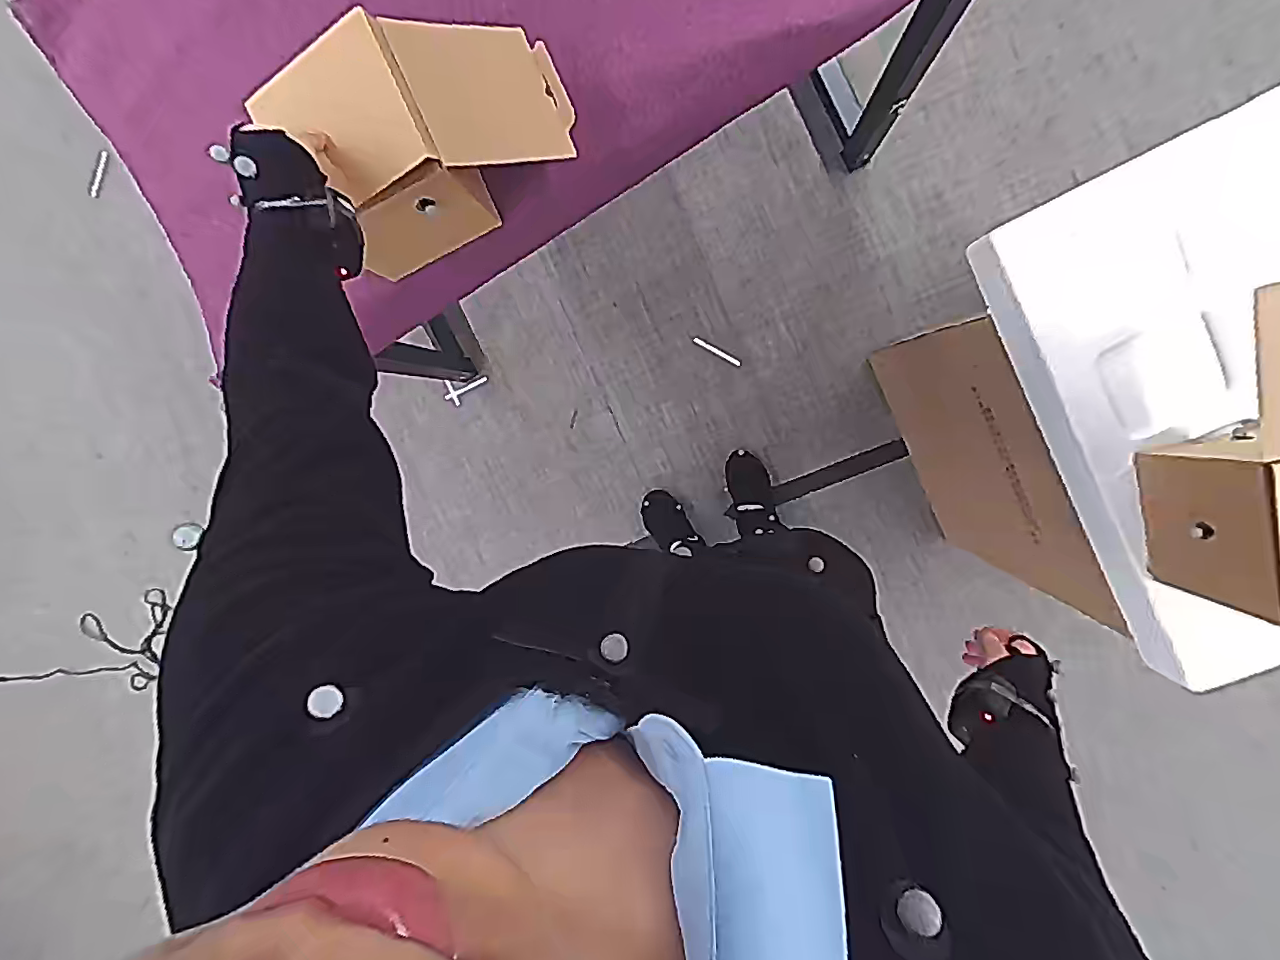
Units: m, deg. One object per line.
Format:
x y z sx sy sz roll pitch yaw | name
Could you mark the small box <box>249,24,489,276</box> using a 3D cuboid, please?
-0.305 -0.376 0.655 0.179 0.176 0.168 -23 92 9 | small box
